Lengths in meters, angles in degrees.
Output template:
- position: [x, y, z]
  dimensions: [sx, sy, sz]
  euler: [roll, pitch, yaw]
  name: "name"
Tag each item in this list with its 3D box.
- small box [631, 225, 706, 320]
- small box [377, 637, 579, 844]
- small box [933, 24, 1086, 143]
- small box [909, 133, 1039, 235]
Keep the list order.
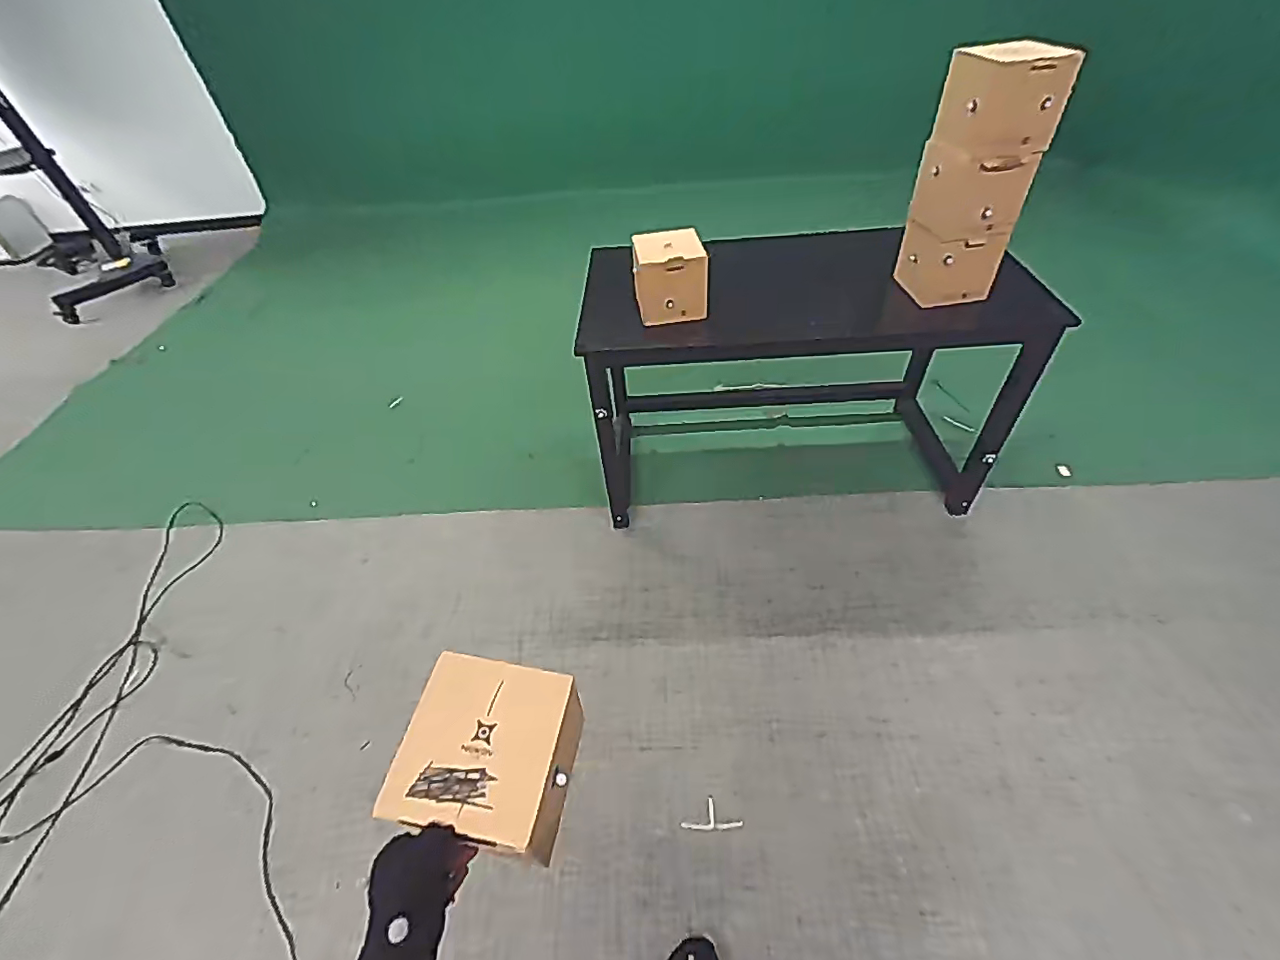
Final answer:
- position: [0.071, -0.537, 1.402]
  dimensions: [0.168, 0.176, 0.179]
  euler: [-8, 48, -3]
  name: "small box"
- position: [-0.174, 0.318, 0.653]
  dimensions: [0.168, 0.176, 0.179]
  euler: [9, 51, 6]
  name: "small box"
- position: [0.741, -0.807, 1.108]
  dimensions: [0.168, 0.176, 0.179]
  euler: [-8, 45, -2]
  name: "small box"
- position: [0.749, -0.683, 1.238]
  dimensions: [0.168, 0.176, 0.179]
  euler: [-9, 46, -1]
  name: "small box"
